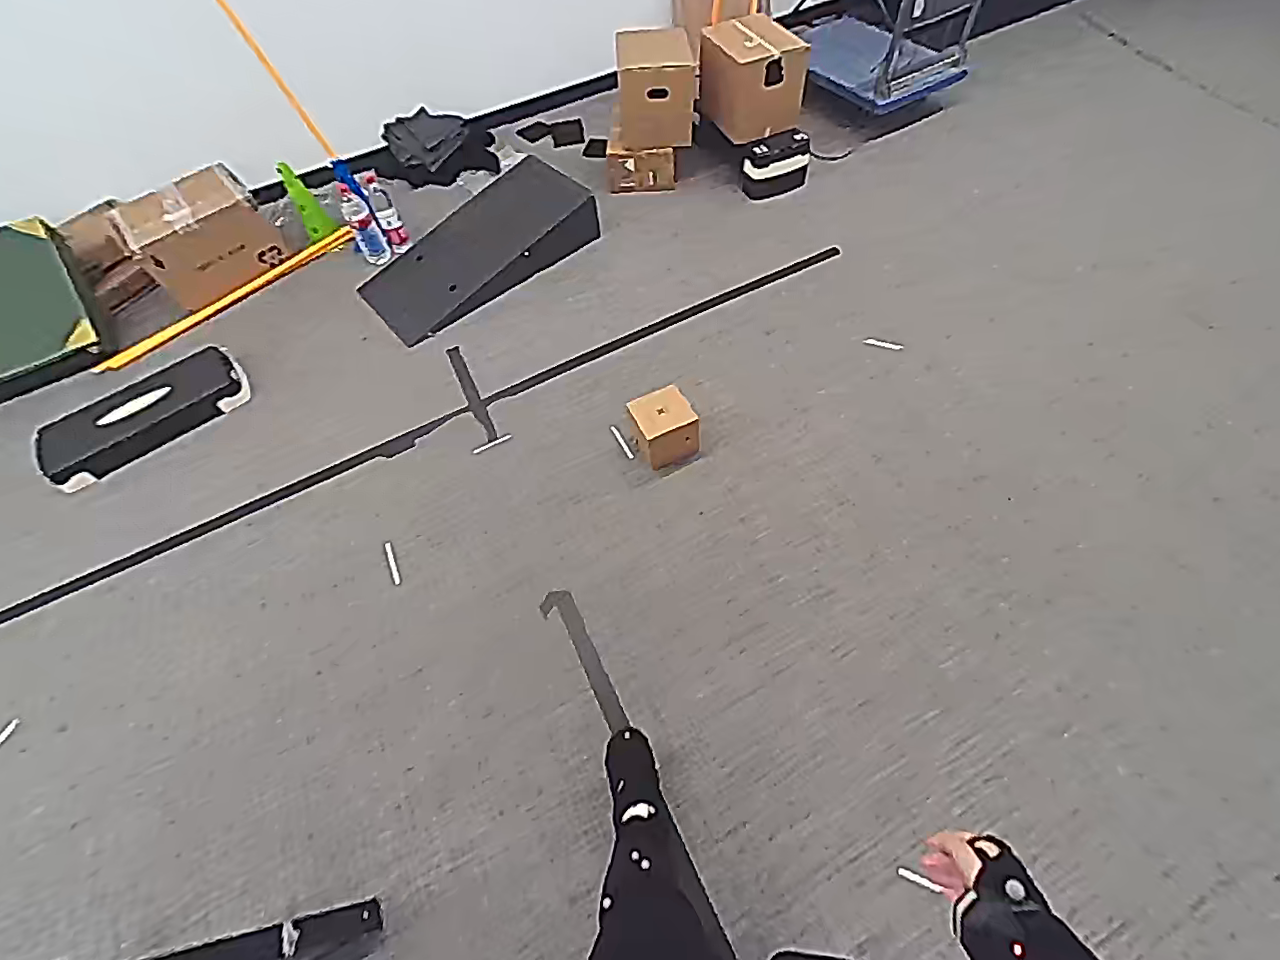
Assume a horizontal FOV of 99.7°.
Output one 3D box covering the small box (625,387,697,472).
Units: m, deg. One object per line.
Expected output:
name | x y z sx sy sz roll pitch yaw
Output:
small box | 0.066 -0.157 1.716 0.179 0.176 0.168 -23 58 -9
